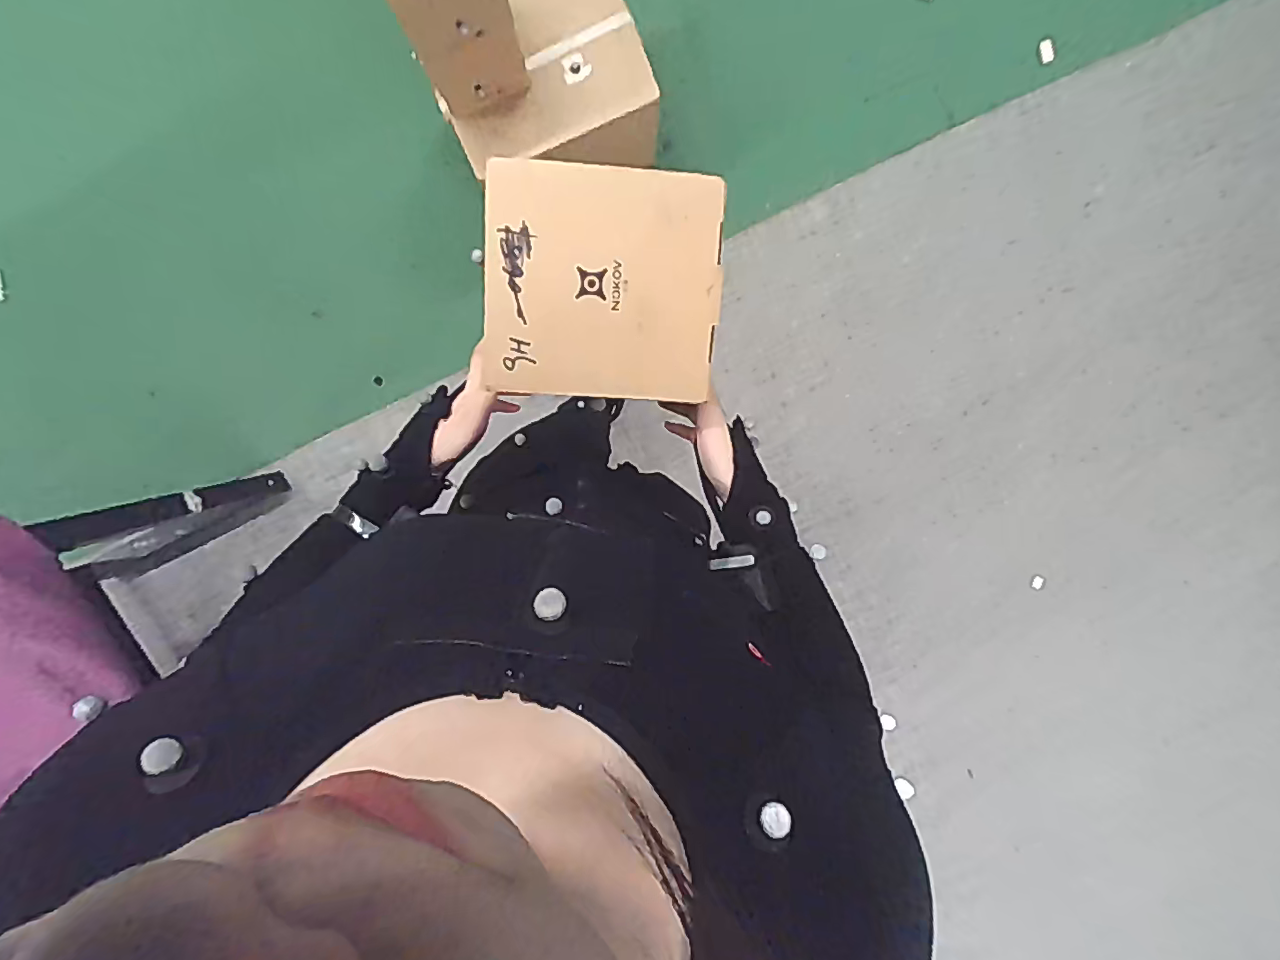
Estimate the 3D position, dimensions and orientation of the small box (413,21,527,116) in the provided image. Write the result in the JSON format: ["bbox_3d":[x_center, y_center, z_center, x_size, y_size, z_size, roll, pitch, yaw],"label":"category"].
[{"bbox_3d":[-0.317,-0.798,0.952,0.168,0.176,0.179,-24,98,2],"label":"small box"}]

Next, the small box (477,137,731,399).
[{"bbox_3d":[-0.035,-0.163,0.469,0.179,0.176,0.168,4,99,-6],"label":"small box"}]

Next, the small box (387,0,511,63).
[{"bbox_3d":[-0.311,-0.774,0.789,0.168,0.176,0.179,-25,98,2],"label":"small box"}]

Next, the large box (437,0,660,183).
[{"bbox_3d":[-0.205,-0.829,1.195,0.408,0.320,0.320,-24,99,1],"label":"large box"}]
